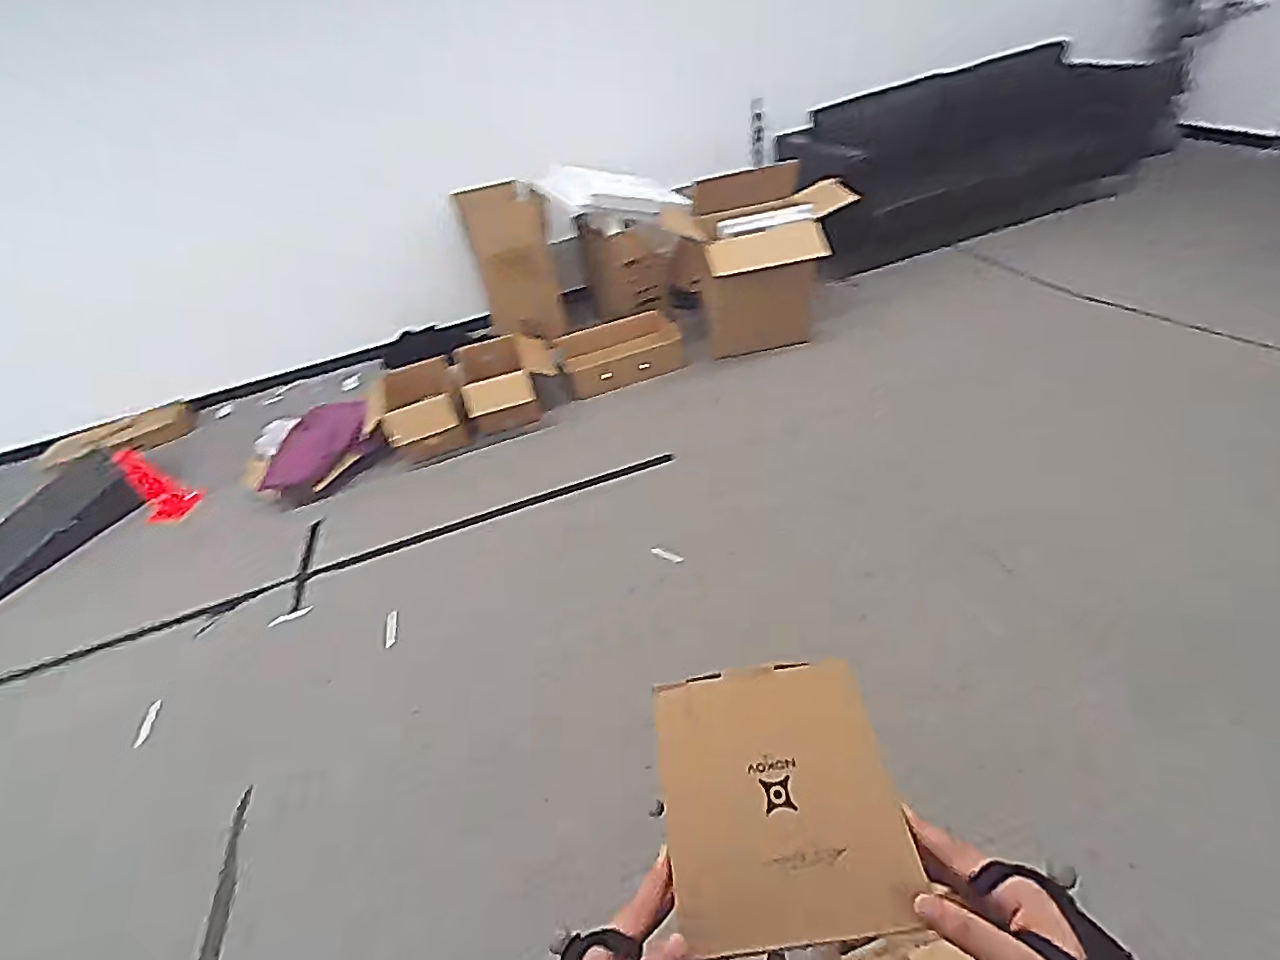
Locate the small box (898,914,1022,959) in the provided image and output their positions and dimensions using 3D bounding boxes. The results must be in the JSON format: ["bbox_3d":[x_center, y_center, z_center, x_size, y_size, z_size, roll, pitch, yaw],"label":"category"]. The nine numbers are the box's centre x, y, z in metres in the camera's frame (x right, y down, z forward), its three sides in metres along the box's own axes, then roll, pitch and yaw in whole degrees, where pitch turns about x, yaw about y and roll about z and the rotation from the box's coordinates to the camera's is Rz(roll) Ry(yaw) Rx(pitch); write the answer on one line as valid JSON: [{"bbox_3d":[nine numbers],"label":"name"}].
[{"bbox_3d":[0.561,0.877,0.913,0.179,0.176,0.168,-18,43,-5],"label":"small box"}]

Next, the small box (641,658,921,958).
[{"bbox_3d":[0.095,0.275,0.456,0.168,0.176,0.179,-9,51,0],"label":"small box"}]
